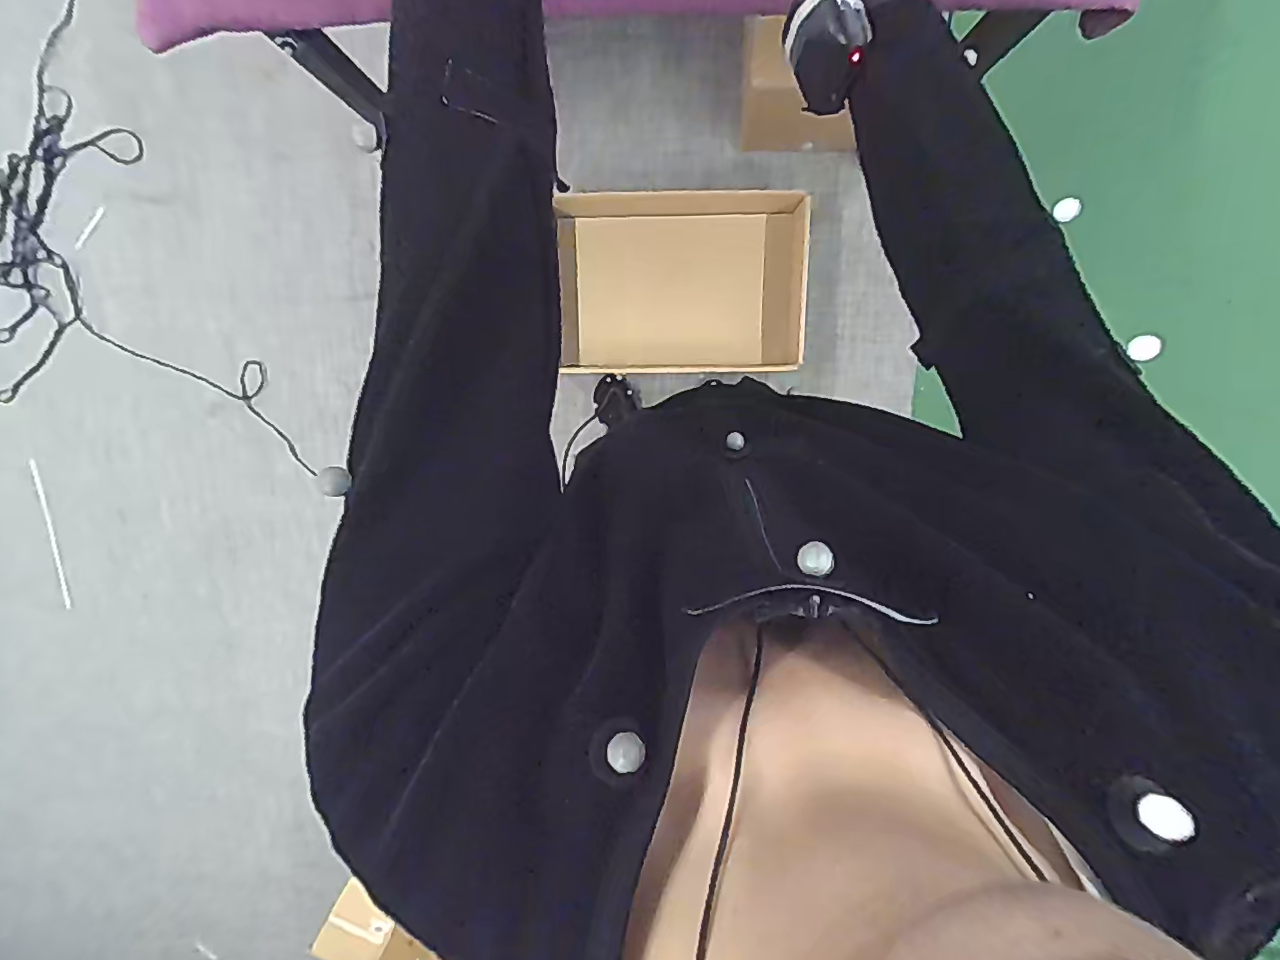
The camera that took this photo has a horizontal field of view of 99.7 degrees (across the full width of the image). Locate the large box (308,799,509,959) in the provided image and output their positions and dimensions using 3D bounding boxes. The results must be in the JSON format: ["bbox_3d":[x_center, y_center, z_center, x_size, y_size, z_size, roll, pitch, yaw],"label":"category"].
[{"bbox_3d":[-0.673,1.273,1.633,0.408,0.320,0.320,30,100,-2],"label":"large box"}]

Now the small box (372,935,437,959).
[{"bbox_3d":[-0.652,1.347,1.398,0.168,0.176,0.179,34,101,-3],"label":"small box"}]
